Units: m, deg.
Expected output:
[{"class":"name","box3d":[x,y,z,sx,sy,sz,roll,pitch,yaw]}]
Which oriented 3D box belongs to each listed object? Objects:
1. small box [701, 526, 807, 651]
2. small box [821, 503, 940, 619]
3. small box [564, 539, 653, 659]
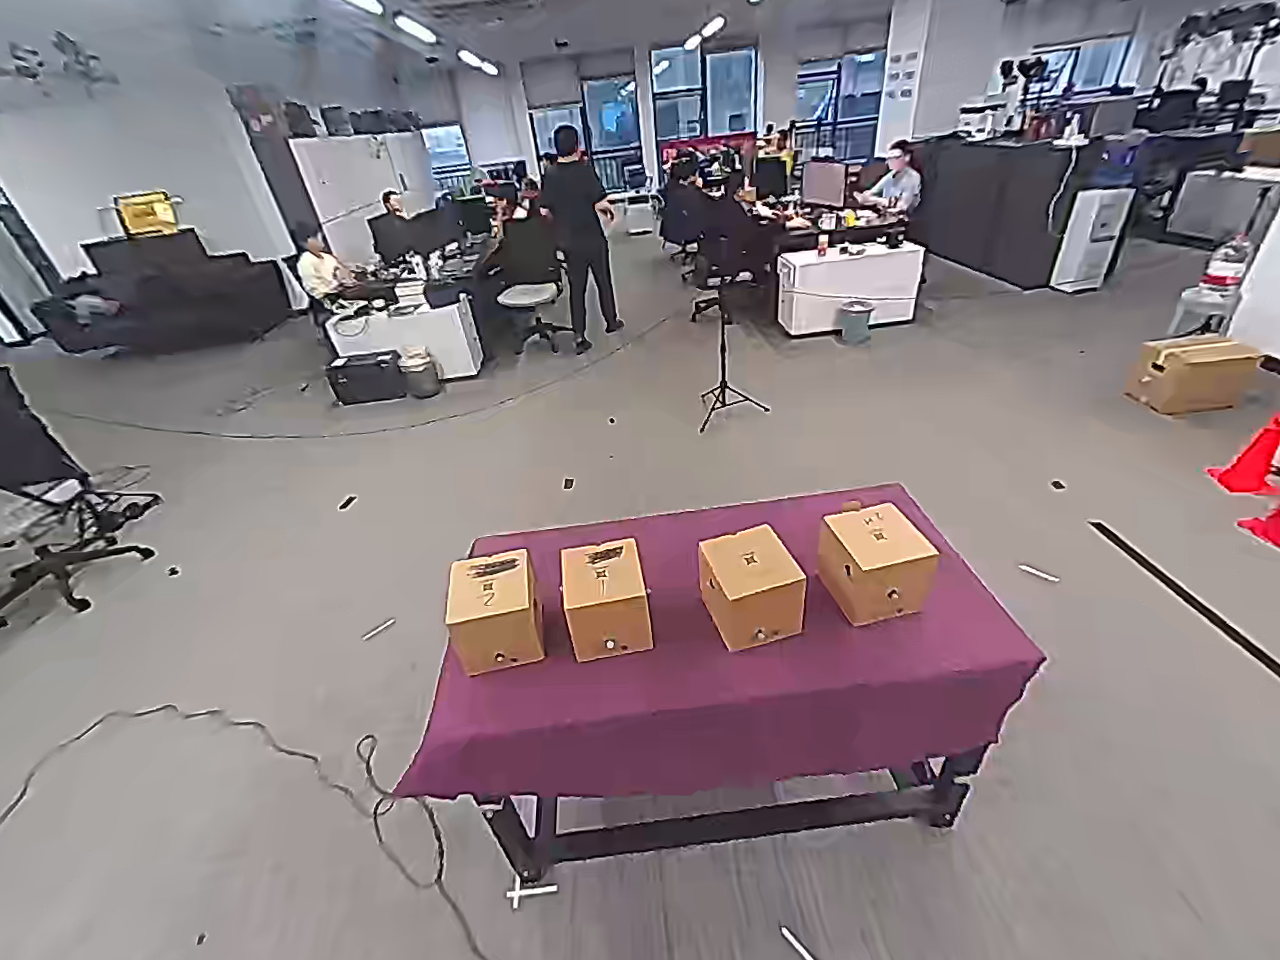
[{"class":"small box","box3d":[0.235,0.228,1.151,0.168,0.176,0.179,-14,34,-8]},{"class":"small box","box3d":[0.507,0.180,1.168,0.168,0.176,0.179,-11,34,-5]},{"class":"small box","box3d":[-0.069,0.255,1.166,0.168,0.176,0.179,-10,35,-3]}]
